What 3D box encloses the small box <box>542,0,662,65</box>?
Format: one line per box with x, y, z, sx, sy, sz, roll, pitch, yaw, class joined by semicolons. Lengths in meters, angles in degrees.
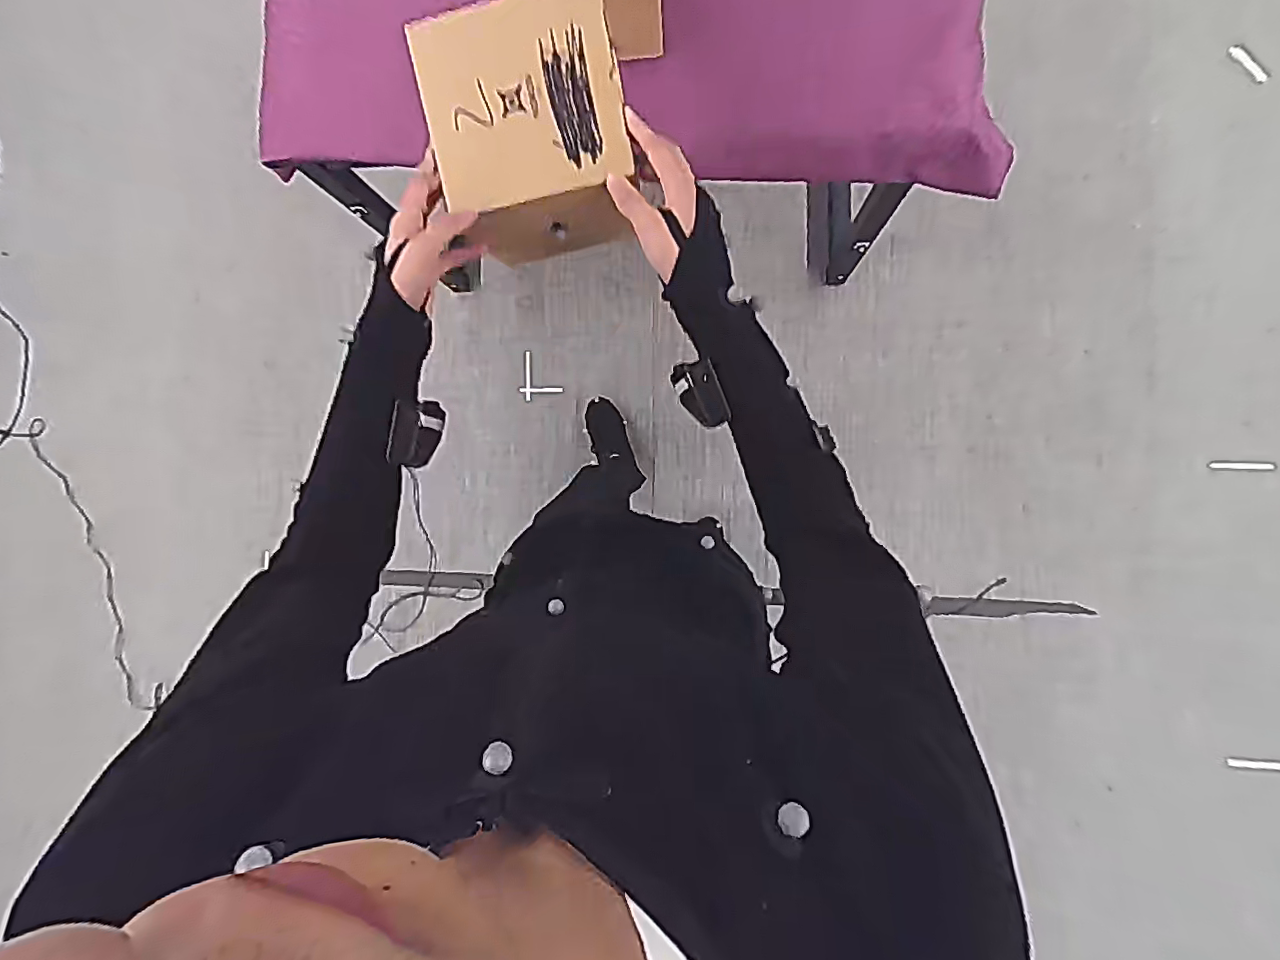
-0.055;-0.782;0.827;0.179;0.176;0.168;-2;88;5;small box
